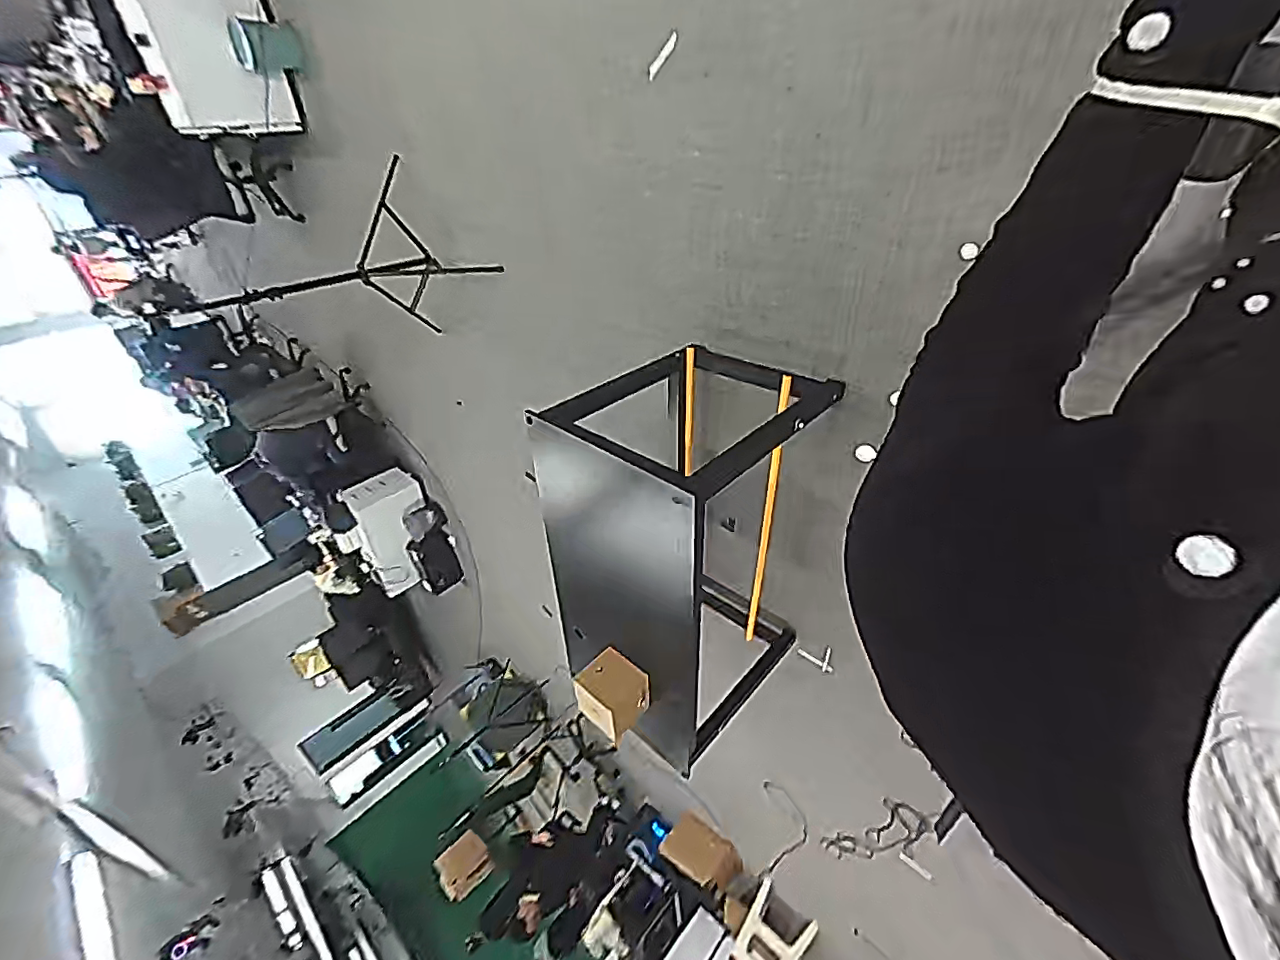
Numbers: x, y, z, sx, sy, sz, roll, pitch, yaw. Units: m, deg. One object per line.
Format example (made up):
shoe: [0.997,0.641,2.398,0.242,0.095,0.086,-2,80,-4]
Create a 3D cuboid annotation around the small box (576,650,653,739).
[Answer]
small box: [-0.079,0.677,1.732,0.179,0.176,0.168,25,134,36]
